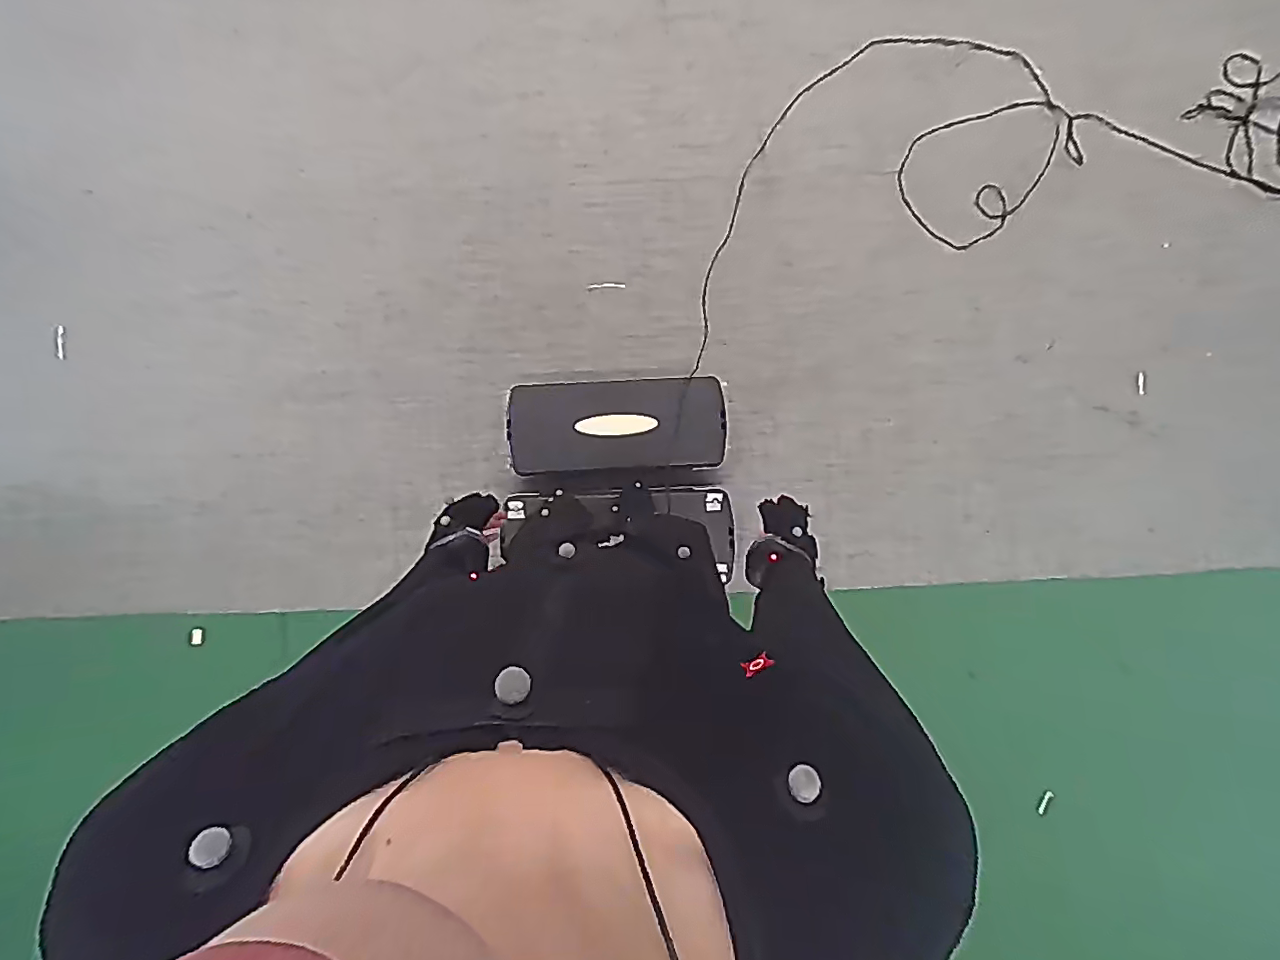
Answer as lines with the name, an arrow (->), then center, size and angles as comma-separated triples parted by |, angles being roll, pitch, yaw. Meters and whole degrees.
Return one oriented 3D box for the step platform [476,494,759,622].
step platform -> -0.056, 0.192, 1.393 | 0.684, 0.204, 0.286 | -2, 88, -1
